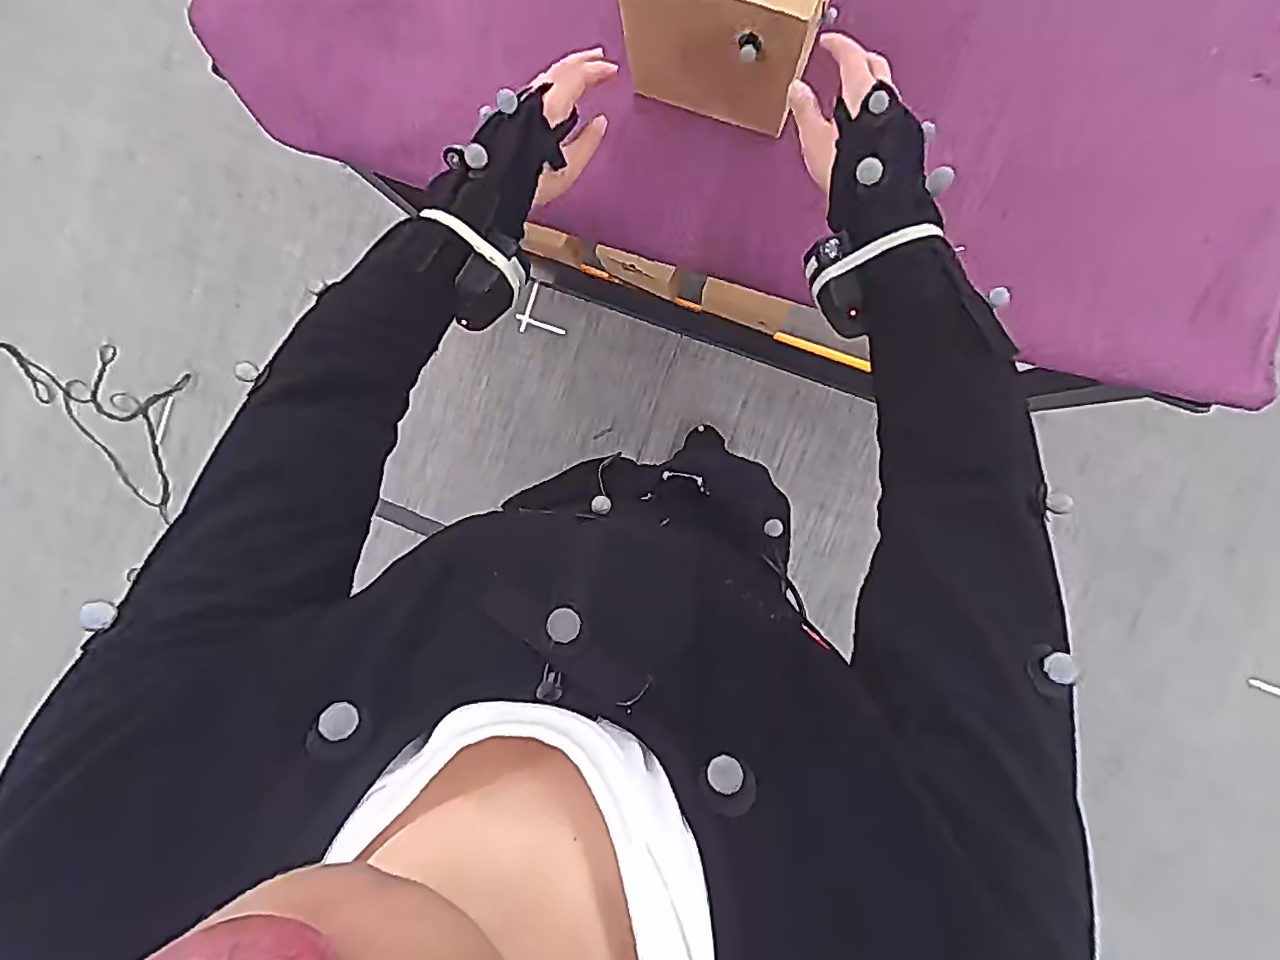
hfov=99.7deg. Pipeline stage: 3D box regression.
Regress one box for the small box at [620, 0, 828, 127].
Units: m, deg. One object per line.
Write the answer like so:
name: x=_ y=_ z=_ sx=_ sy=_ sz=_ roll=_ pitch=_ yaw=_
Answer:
small box: x=0.093 y=-0.481 z=0.517 sx=0.179 sy=0.176 sz=0.168 roll=20 pitch=93 yaw=4
